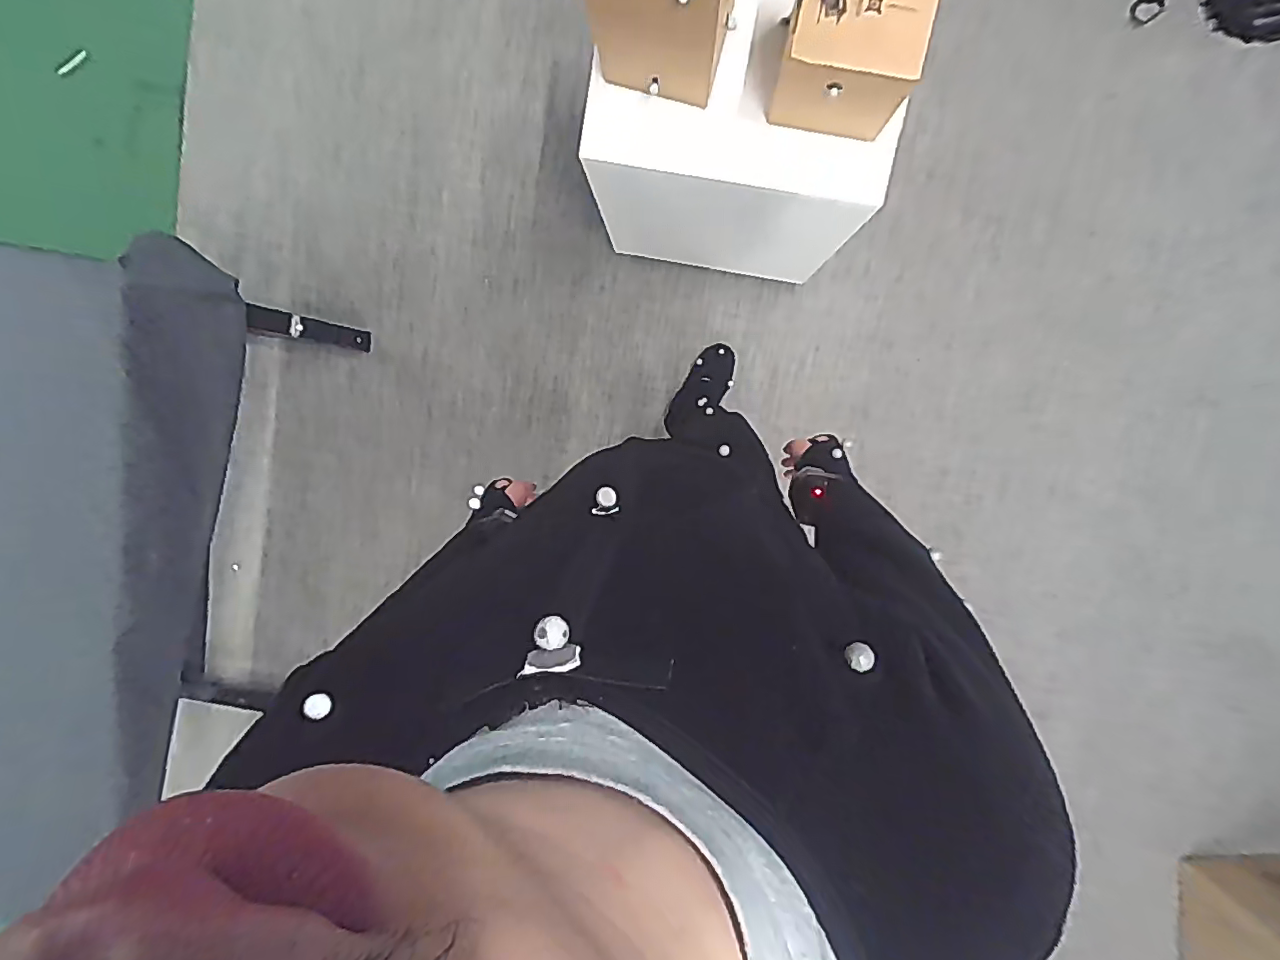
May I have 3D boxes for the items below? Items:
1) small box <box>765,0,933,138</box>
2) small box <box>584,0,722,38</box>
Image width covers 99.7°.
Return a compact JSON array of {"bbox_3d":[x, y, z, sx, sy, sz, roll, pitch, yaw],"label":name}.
[{"bbox_3d":[0.290,-0.624,0.774,0.179,0.176,0.168,10,97,0],"label":"small box"},{"bbox_3d":[0.026,-0.653,0.613,0.179,0.176,0.168,12,96,1],"label":"small box"}]
